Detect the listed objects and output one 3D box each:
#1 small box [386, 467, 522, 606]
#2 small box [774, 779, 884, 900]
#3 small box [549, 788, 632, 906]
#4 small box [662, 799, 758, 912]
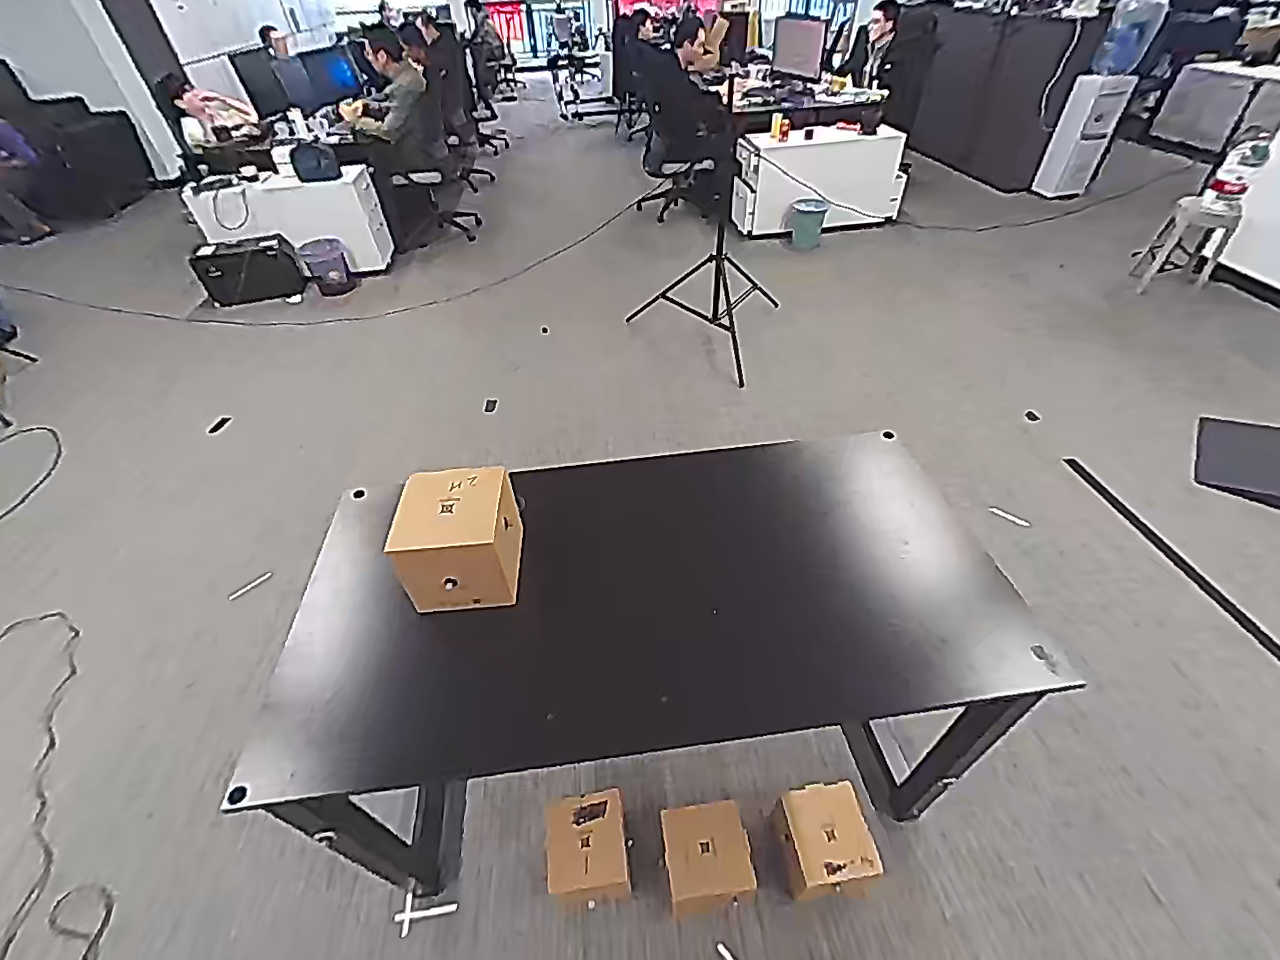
[{"bbox_3d":[-0.303,0.102,0.925,0.168,0.176,0.179,-4,43,-2],"label":"small box"},{"bbox_3d":[0.407,0.799,1.203,0.168,0.176,0.179,-8,43,-4],"label":"small box"},{"bbox_3d":[-0.111,0.823,1.213,0.168,0.176,0.179,-8,44,-4],"label":"small box"},{"bbox_3d":[0.146,0.829,1.193,0.179,0.176,0.168,-7,43,-3],"label":"small box"}]
